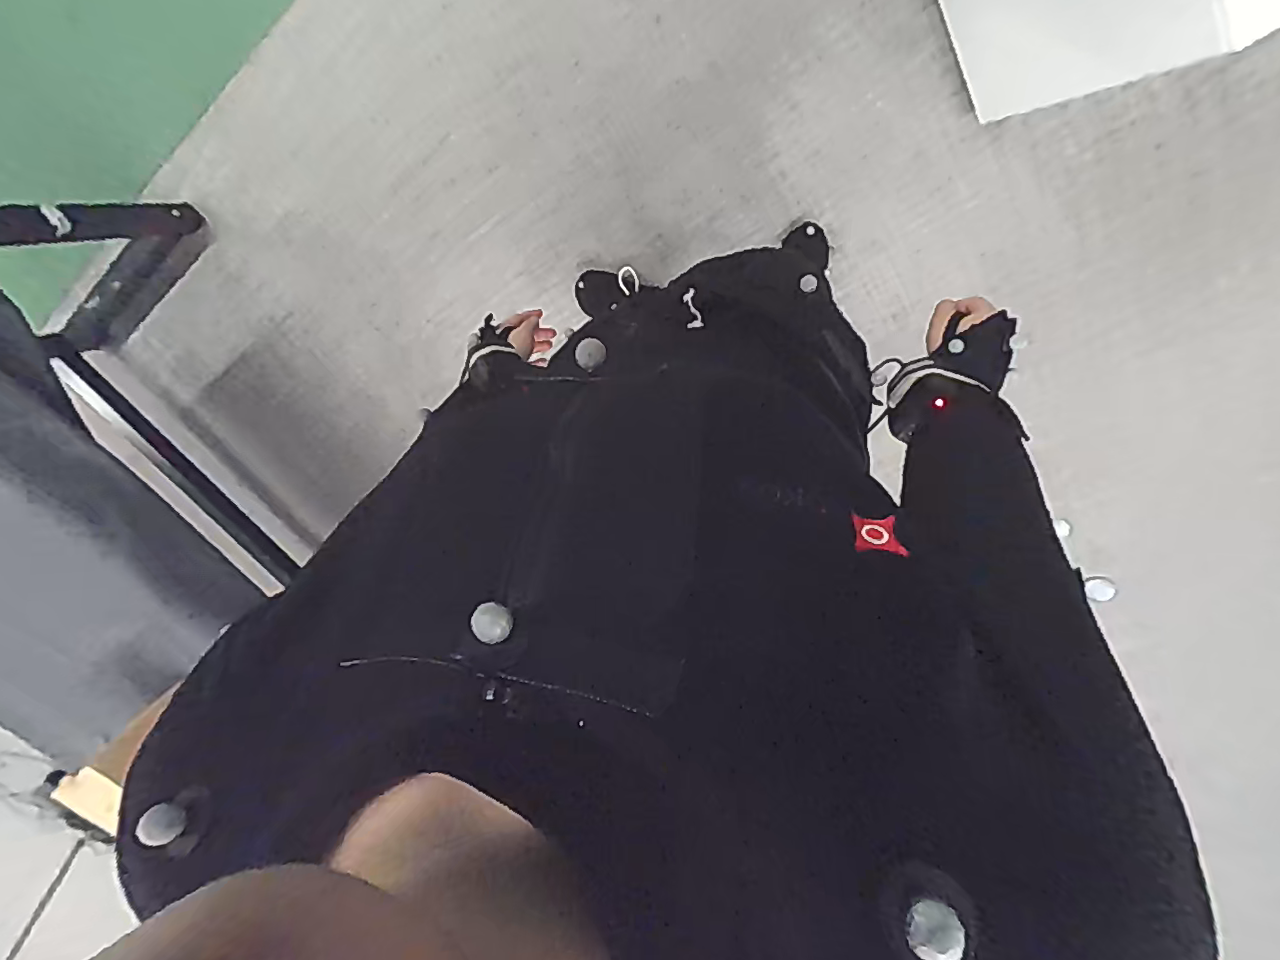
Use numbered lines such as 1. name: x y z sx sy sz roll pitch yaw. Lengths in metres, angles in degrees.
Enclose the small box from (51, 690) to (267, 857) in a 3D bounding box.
1. small box: -0.785 0.476 0.899 0.168 0.176 0.179 -33 109 24
